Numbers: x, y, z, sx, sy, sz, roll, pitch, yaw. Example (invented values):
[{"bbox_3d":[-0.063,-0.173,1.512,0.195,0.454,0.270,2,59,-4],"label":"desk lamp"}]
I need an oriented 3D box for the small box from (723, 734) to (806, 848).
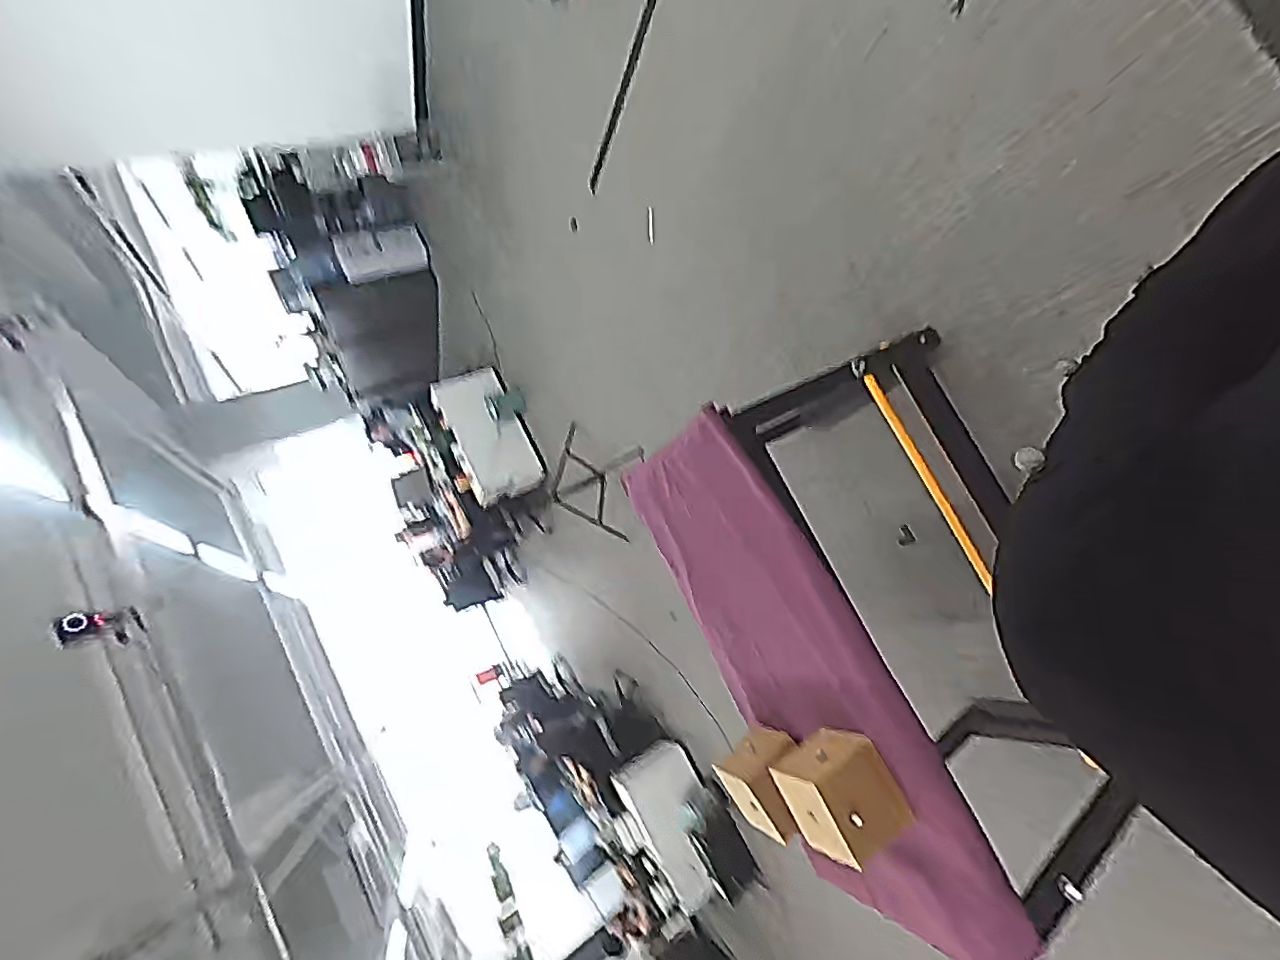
[{"bbox_3d":[0.340,0.765,1.358,0.179,0.168,0.176,57,156,1],"label":"small box"}]

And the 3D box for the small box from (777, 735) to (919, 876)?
[{"bbox_3d":[0.428,0.657,1.120,0.179,0.176,0.168,61,155,8],"label":"small box"}]
